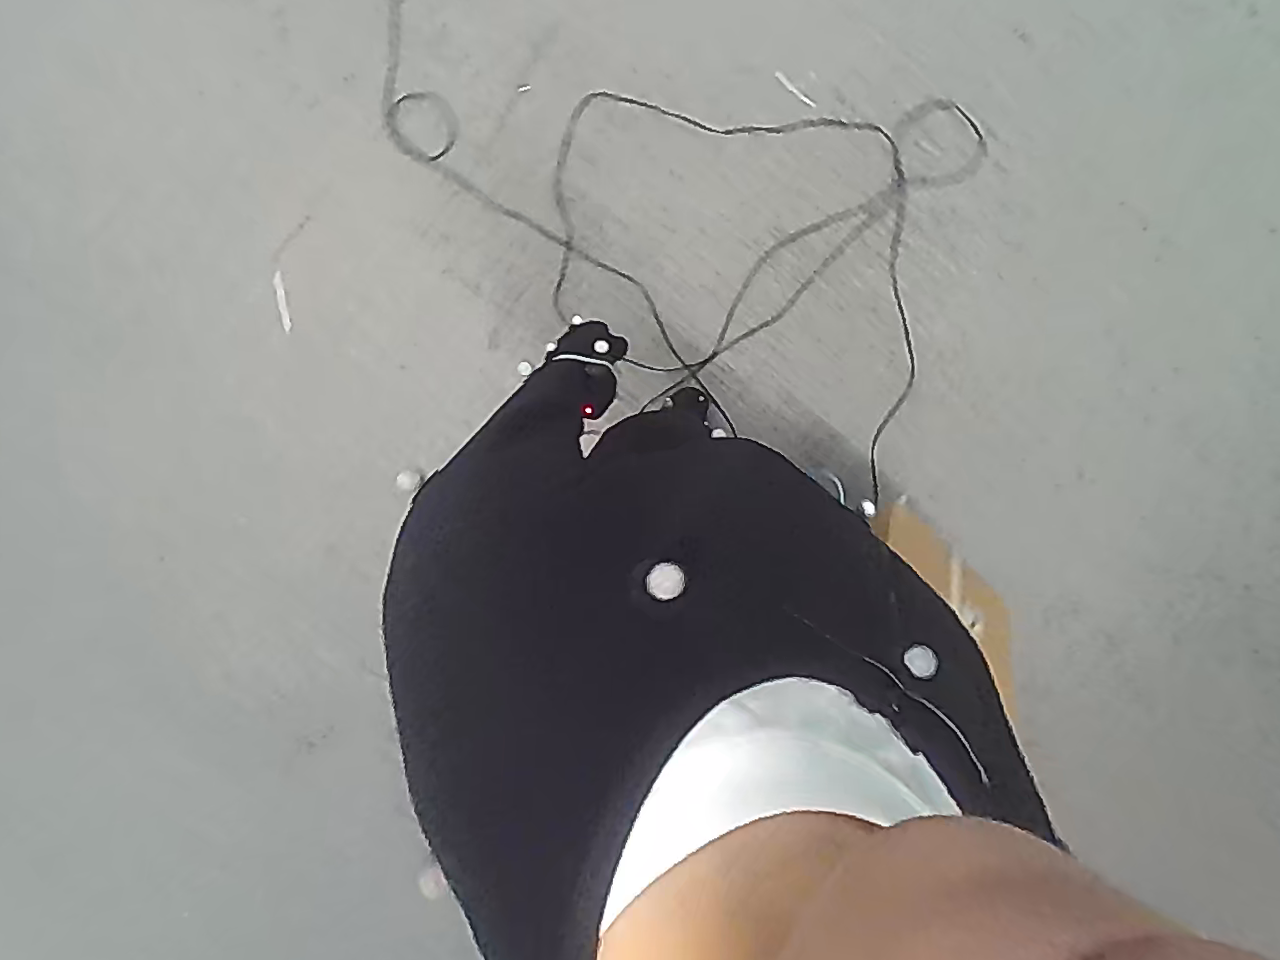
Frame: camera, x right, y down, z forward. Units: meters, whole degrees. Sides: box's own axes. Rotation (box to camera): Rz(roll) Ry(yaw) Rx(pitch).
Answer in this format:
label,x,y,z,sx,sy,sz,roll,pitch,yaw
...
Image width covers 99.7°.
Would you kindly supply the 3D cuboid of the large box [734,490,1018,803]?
label,x,y,z,sx,sy,sz,roll,pitch,yaw
large box,0.431,0.302,1.001,0.320,0.408,0.320,43,134,-3
